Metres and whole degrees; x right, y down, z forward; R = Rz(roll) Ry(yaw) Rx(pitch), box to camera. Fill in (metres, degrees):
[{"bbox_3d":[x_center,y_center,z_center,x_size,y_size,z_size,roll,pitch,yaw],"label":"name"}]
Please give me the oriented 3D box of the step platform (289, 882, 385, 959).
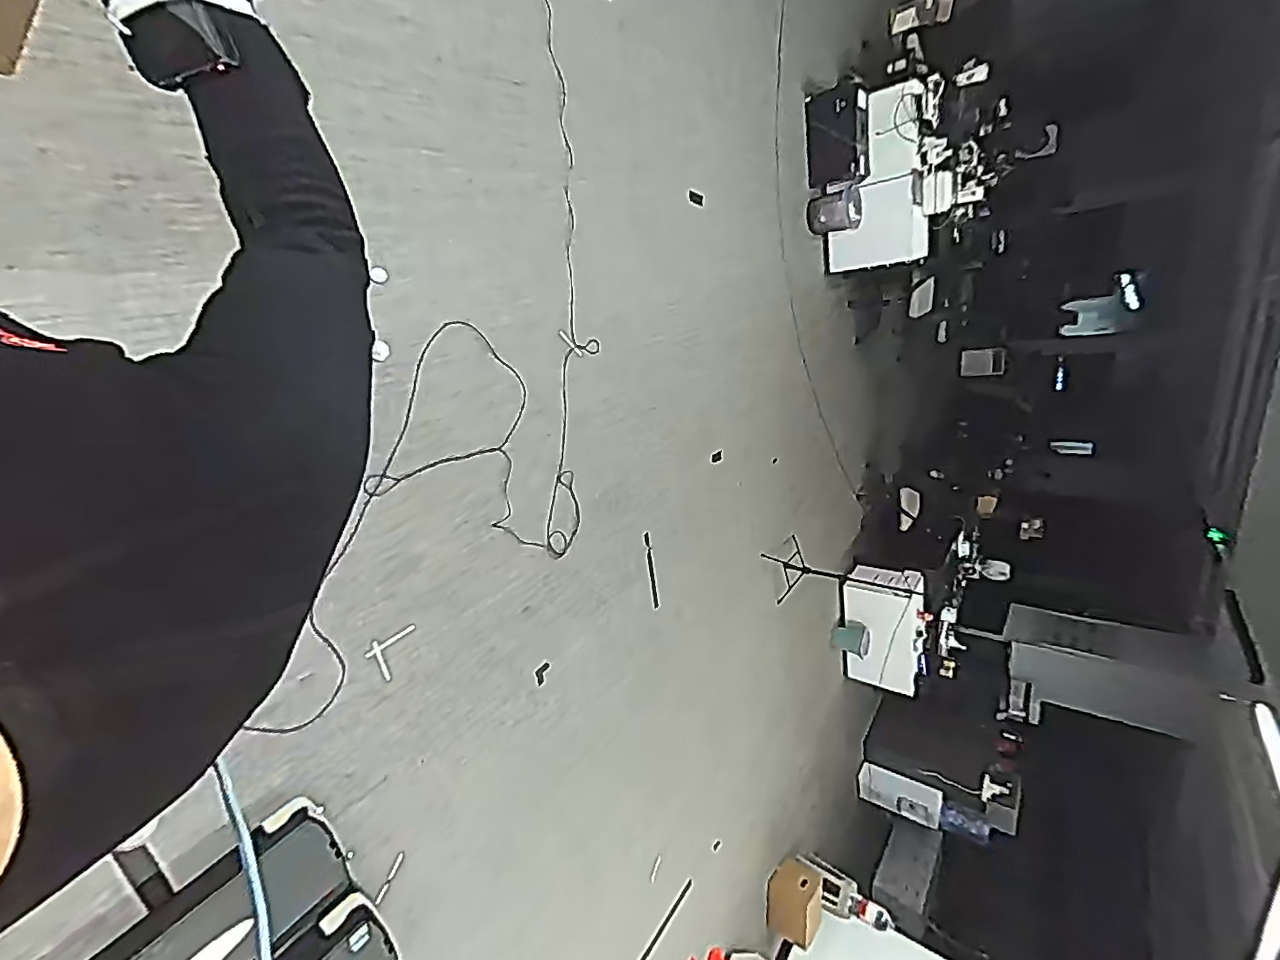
[{"bbox_3d":[-0.971,1.374,1.286,0.684,0.204,0.286,-32,119,-43],"label":"step platform"}]
